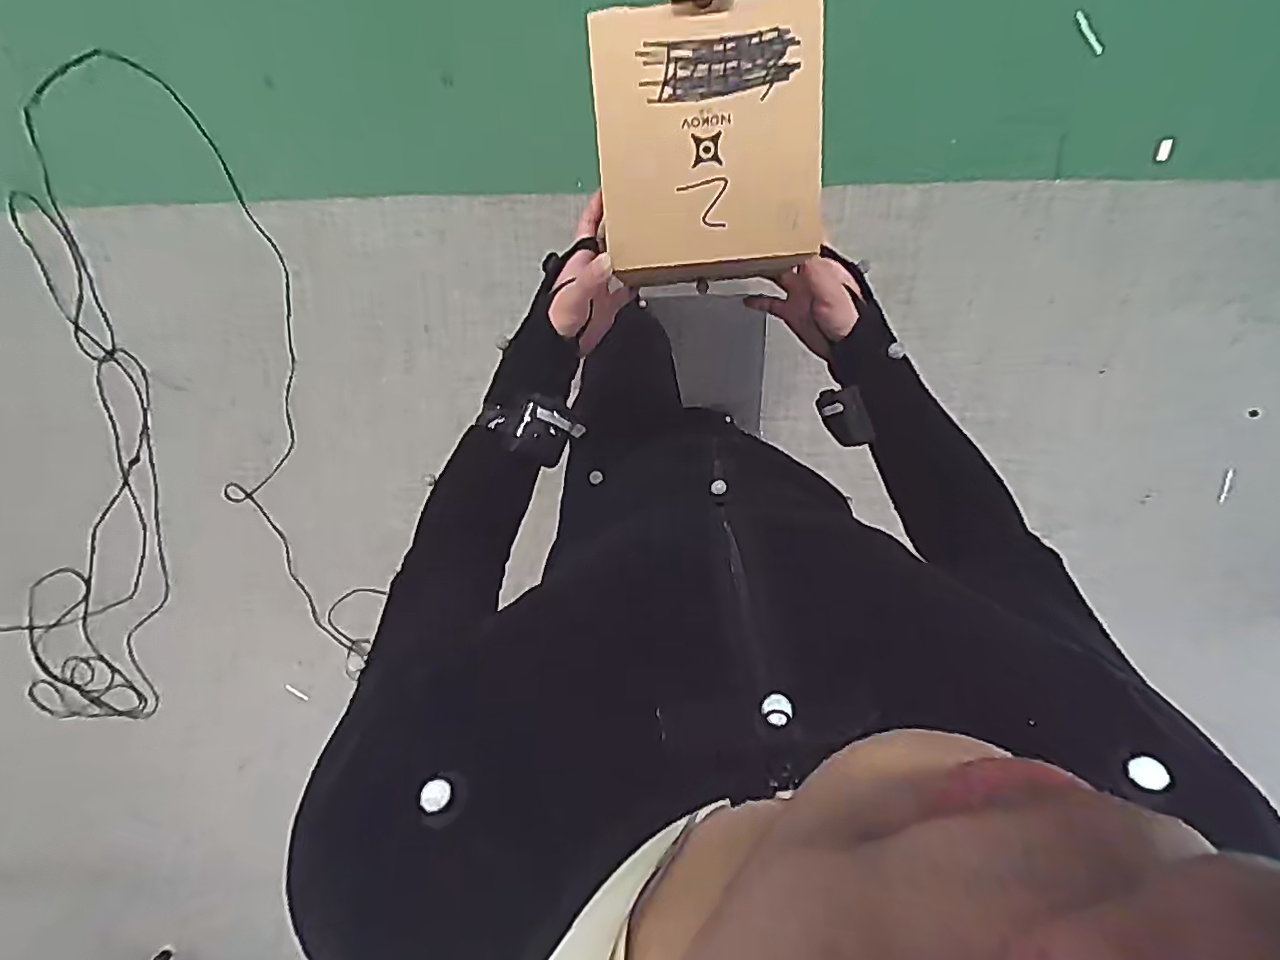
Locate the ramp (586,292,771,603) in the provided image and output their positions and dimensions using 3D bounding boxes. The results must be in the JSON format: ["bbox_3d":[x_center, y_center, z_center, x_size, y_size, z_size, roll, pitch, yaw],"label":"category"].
[{"bbox_3d":[0.123,-0.037,1.632,0.509,0.206,0.991,-3,106,2],"label":"ramp"}]
